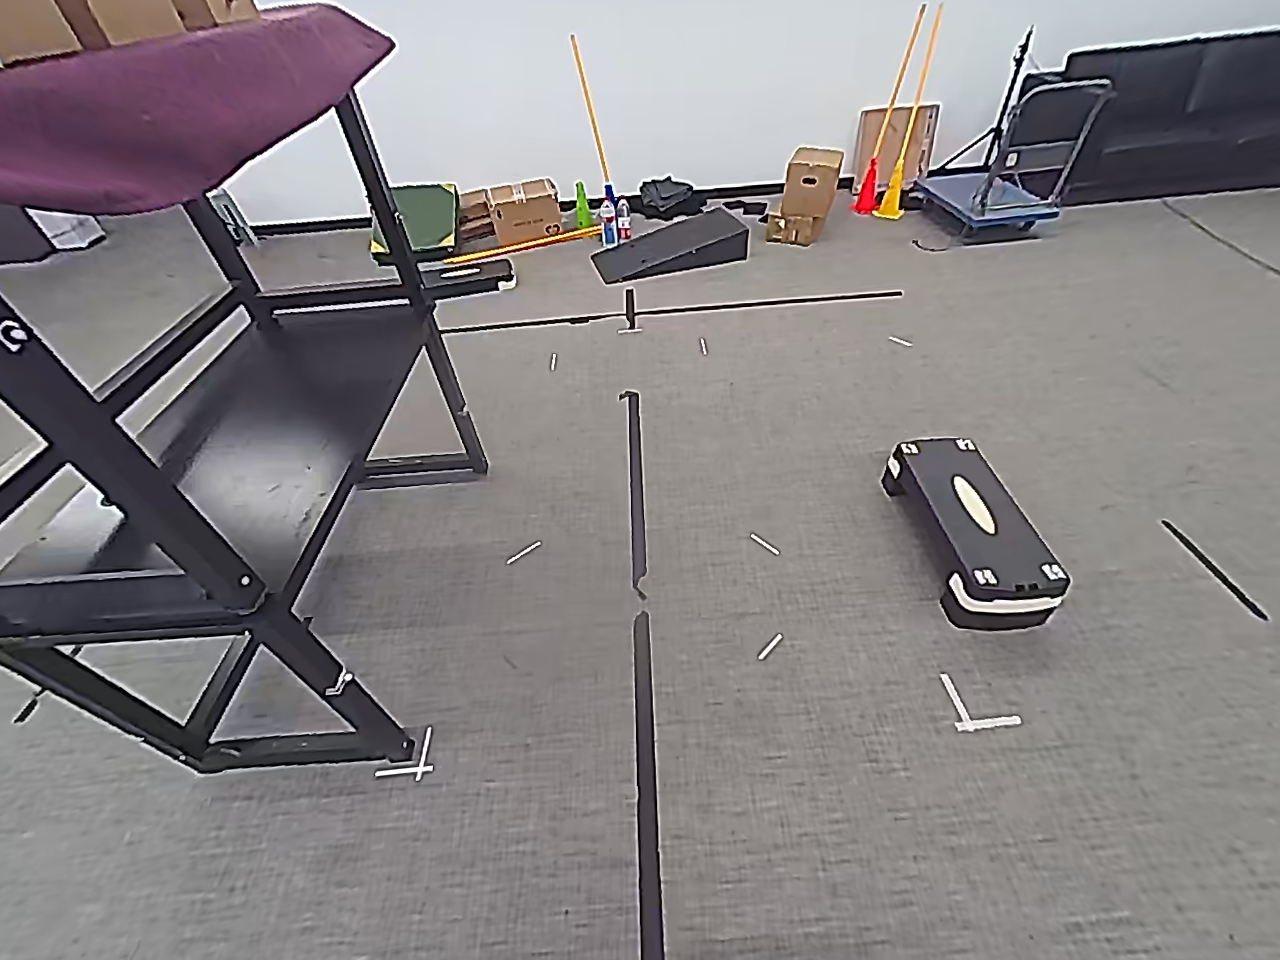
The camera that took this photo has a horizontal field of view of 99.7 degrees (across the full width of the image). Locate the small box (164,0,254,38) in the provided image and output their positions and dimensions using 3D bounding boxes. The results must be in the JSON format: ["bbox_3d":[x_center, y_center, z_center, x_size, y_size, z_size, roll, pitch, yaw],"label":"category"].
[{"bbox_3d":[-0.926,-1.002,1.084,0.168,0.176,0.179,-4,44,3],"label":"small box"}]

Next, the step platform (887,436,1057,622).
[{"bbox_3d":[1.071,0.127,1.810,0.286,0.204,0.684,-1,43,5],"label":"step platform"}]

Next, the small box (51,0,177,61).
[{"bbox_3d":[-0.876,-0.759,0.831,0.168,0.176,0.179,-1,44,6],"label":"small box"}]
